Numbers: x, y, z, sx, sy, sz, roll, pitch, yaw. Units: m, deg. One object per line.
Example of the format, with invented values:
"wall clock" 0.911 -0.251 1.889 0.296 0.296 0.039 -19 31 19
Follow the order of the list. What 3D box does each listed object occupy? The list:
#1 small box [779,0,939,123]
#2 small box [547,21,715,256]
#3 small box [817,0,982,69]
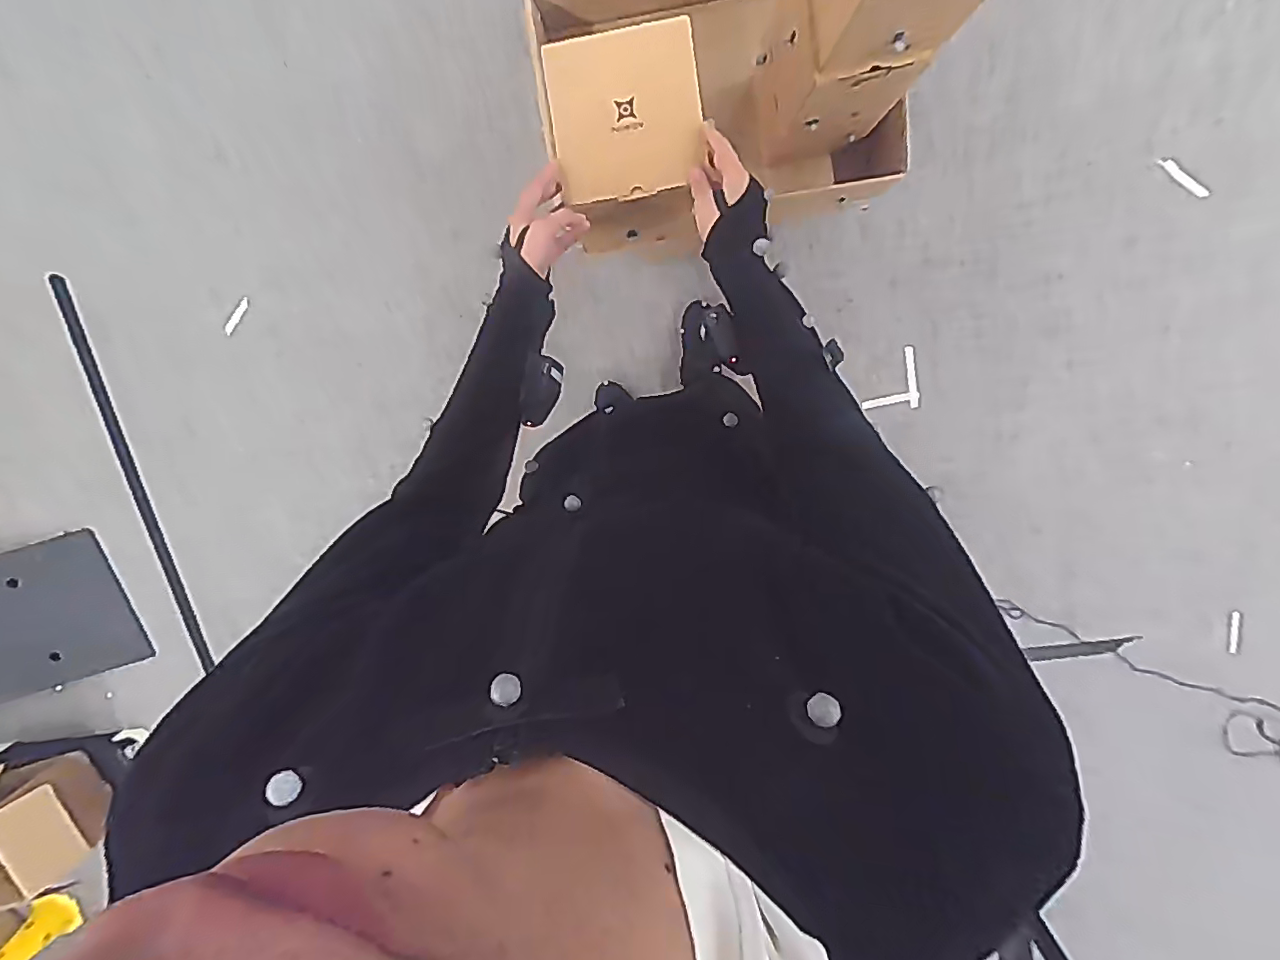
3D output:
"small box" 0.306 -0.650 0.783 0.168 0.176 0.179 -10 102 5
"small box" -0.006 -0.401 0.665 0.168 0.176 0.179 -9 96 4
"small box" 0.304 -0.624 0.620 0.168 0.176 0.179 -10 104 6
